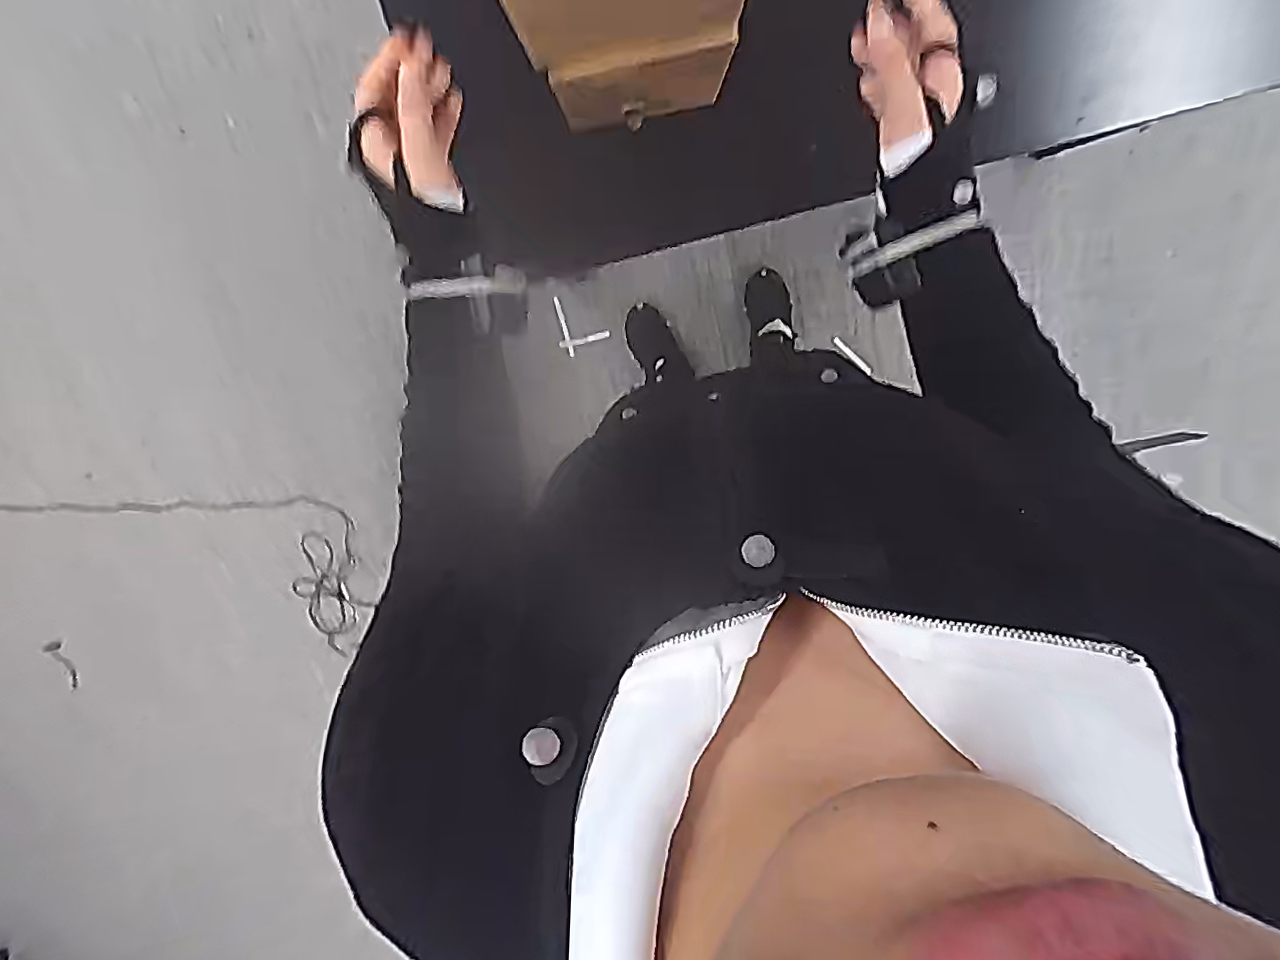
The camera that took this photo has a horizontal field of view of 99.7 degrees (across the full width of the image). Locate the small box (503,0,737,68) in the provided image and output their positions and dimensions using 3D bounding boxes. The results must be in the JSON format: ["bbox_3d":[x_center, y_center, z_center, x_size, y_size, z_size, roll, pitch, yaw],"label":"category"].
[{"bbox_3d":[-0.018,-0.410,0.353,0.179,0.176,0.168,-10,108,5],"label":"small box"}]

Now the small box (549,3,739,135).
[{"bbox_3d":[-0.010,-0.460,0.511,0.168,0.176,0.179,-10,110,5],"label":"small box"}]
